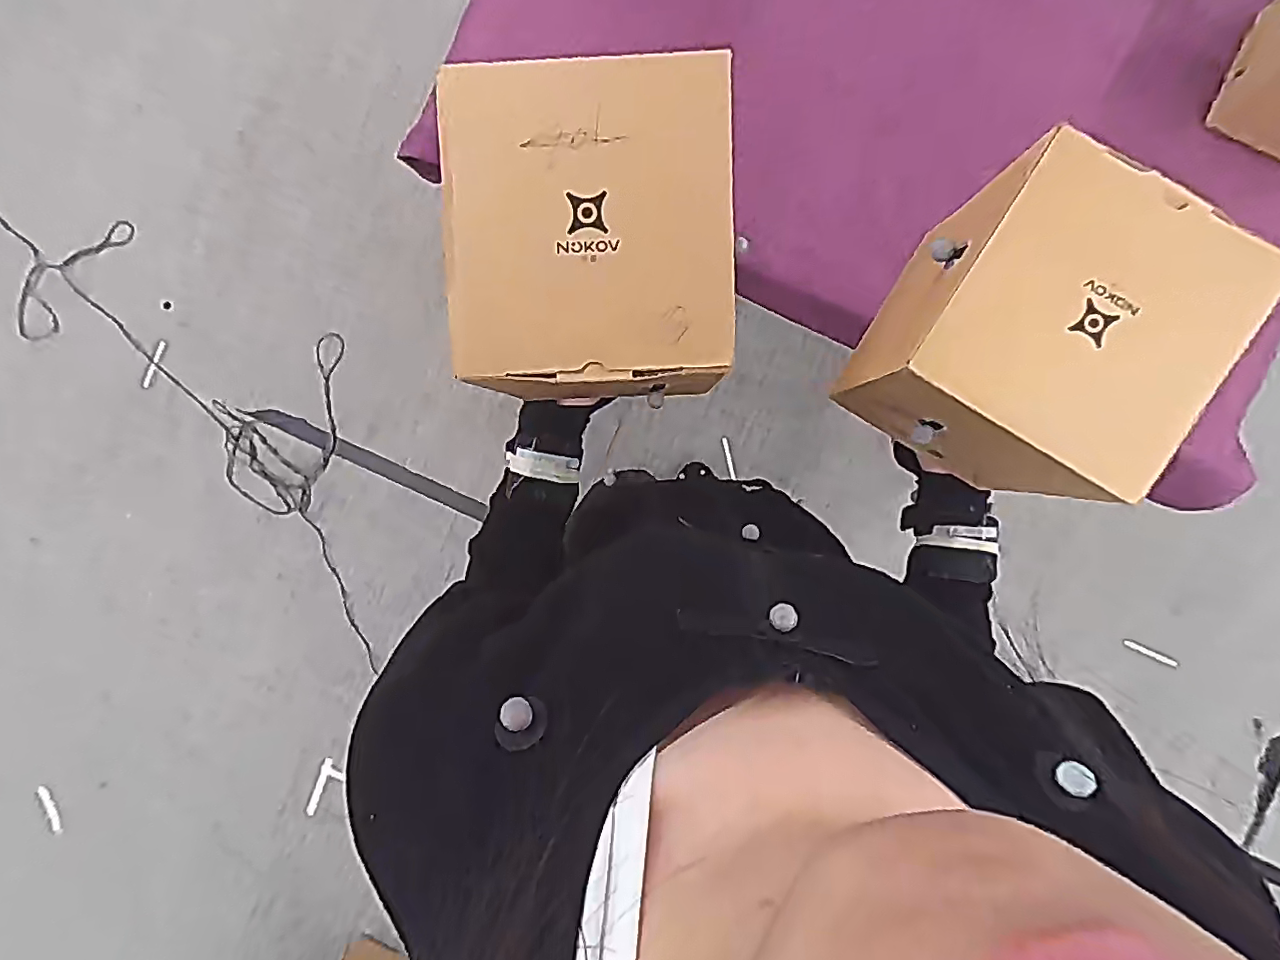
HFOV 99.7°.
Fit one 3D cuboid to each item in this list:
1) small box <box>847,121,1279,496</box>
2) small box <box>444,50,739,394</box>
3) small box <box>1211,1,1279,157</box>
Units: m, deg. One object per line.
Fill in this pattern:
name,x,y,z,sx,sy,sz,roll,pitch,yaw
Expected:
small box,0.283,-0.106,0.409,0.168,0.176,0.179,32,92,1
small box,-0.024,-0.155,0.386,0.168,0.176,0.179,-2,94,1
small box,0.874,-0.522,0.652,0.179,0.176,0.168,25,93,-1
